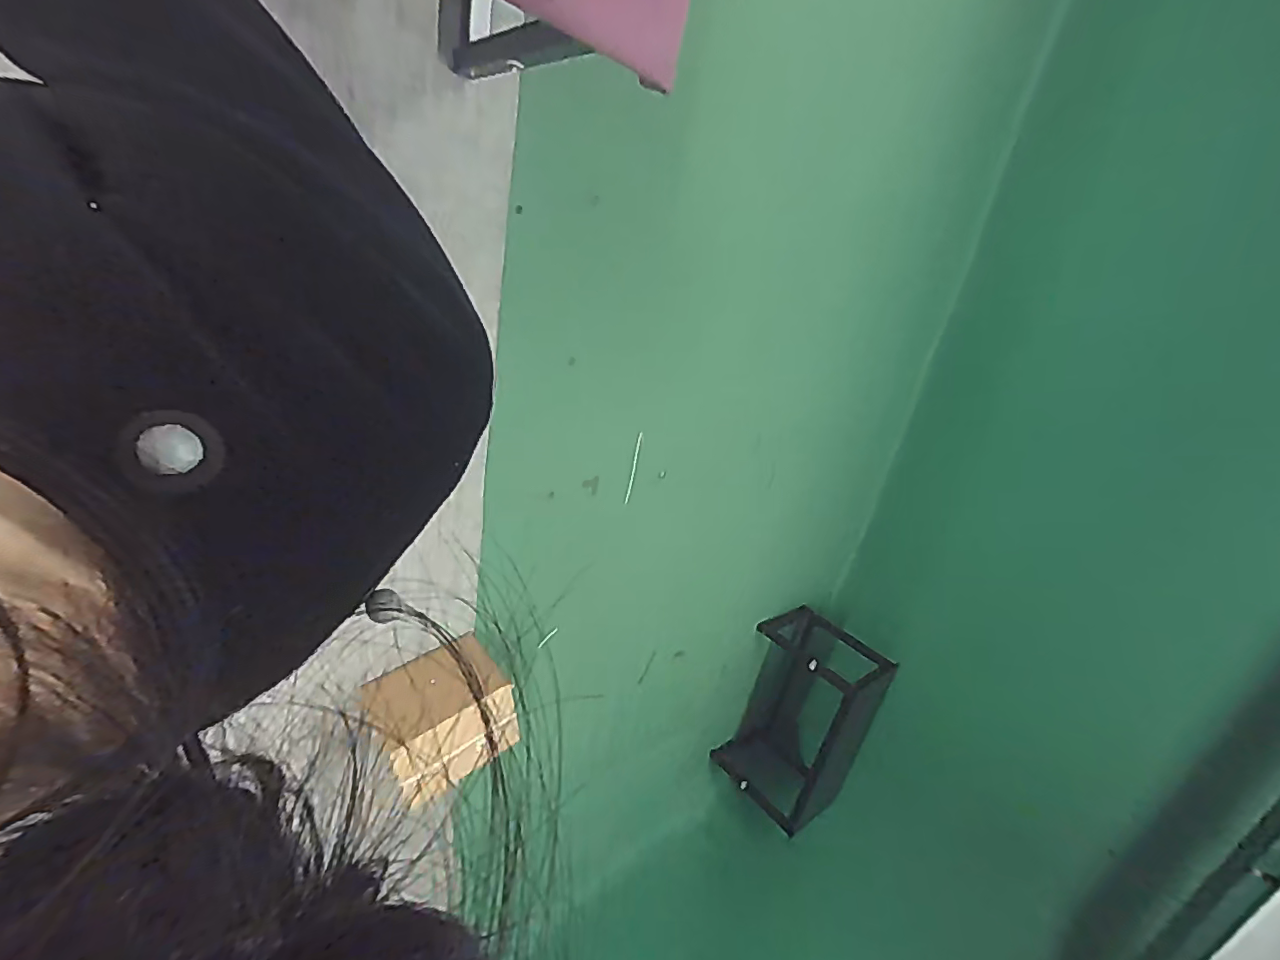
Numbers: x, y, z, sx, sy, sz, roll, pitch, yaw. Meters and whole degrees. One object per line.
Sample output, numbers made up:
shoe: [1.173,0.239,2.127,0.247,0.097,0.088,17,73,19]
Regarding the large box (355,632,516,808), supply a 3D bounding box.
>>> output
large box: [-0.700,0.811,1.878,0.408,0.320,0.320,-24,129,-34]
